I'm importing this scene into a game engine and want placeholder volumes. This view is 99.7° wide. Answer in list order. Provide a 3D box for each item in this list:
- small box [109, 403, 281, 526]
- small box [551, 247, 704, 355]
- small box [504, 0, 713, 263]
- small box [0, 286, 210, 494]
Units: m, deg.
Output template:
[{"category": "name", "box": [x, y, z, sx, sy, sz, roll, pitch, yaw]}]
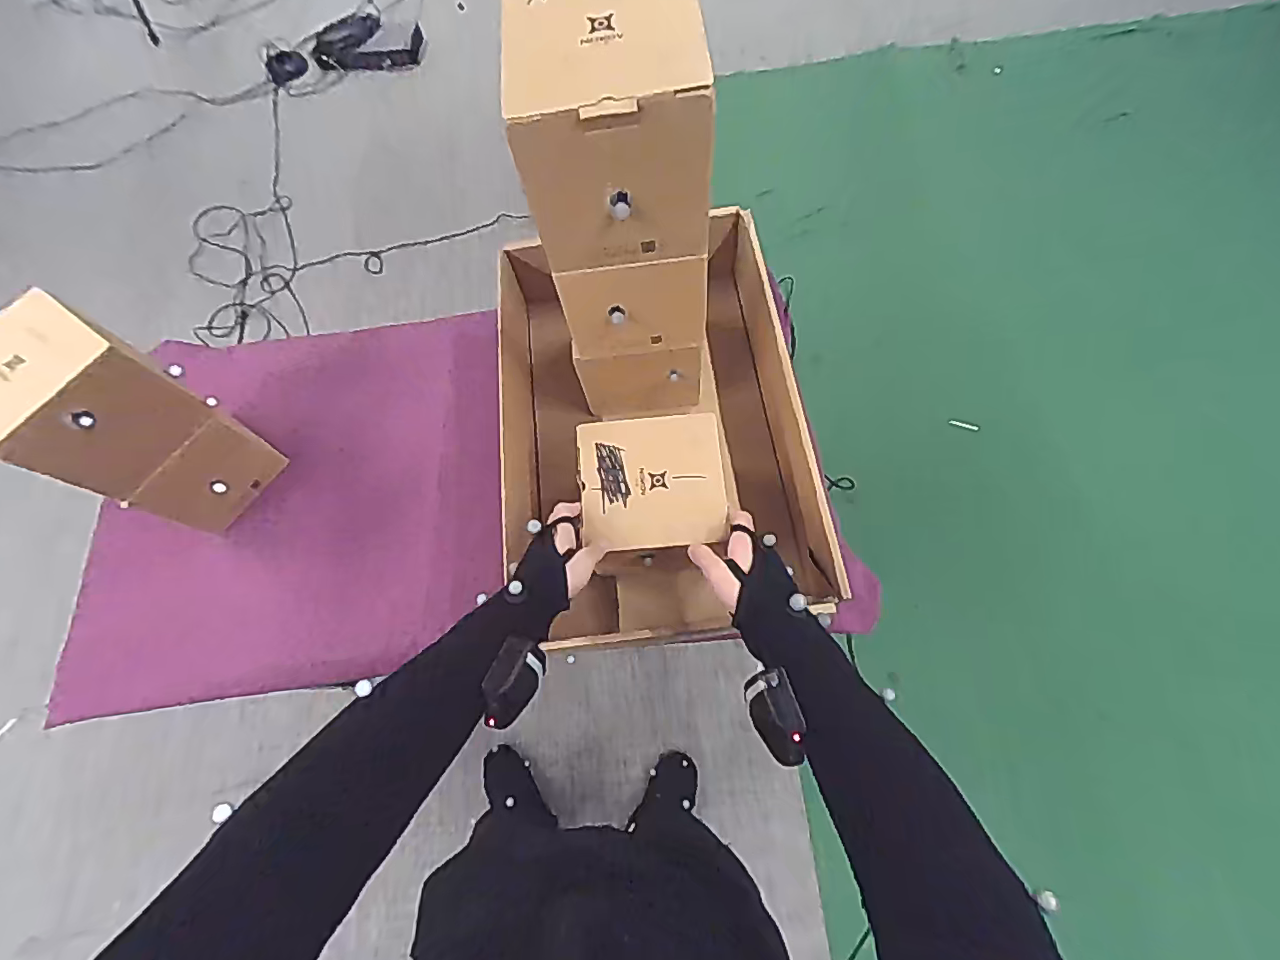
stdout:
[{"category": "small box", "box": [-0.730, -0.044, 0.860, 0.179, 0.176, 0.168, 33, 74, 15]}, {"category": "small box", "box": [-0.011, -0.270, 0.667, 0.168, 0.176, 0.179, -6, 69, 3]}, {"category": "small box", "box": [-0.023, -0.329, 0.514, 0.168, 0.176, 0.179, -6, 70, 2]}, {"category": "small box", "box": [-0.735, -0.108, 0.710, 0.168, 0.176, 0.179, 33, 74, 14]}]
